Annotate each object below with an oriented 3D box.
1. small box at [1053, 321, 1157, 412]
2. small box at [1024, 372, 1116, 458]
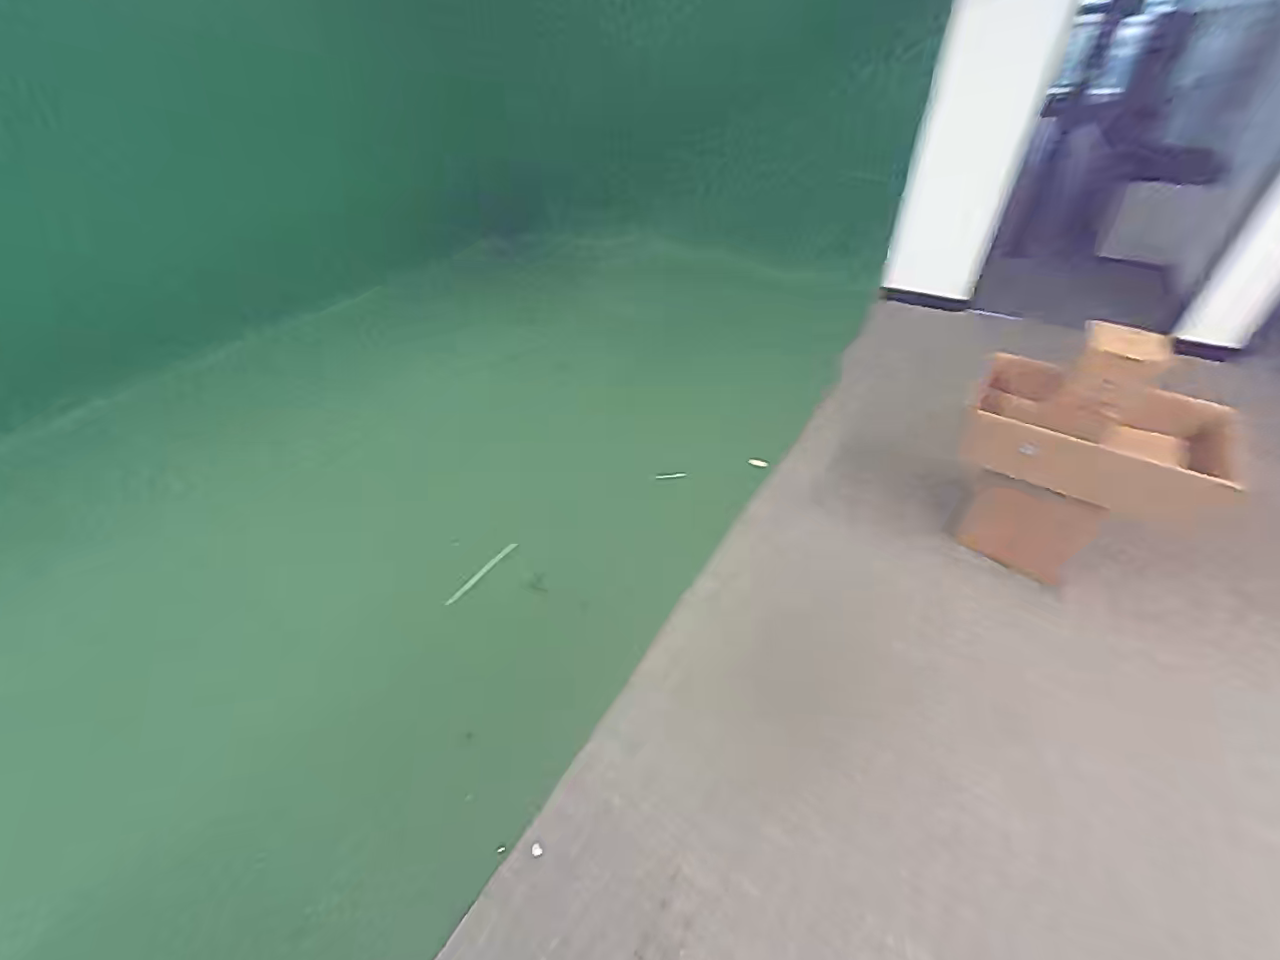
[{"bbox_3d":[1.293,-0.315,1.510,0.168,0.176,0.179,24,49,22],"label":"small box"},{"bbox_3d":[1.286,-0.192,1.619,0.168,0.176,0.179,26,47,24],"label":"small box"}]
